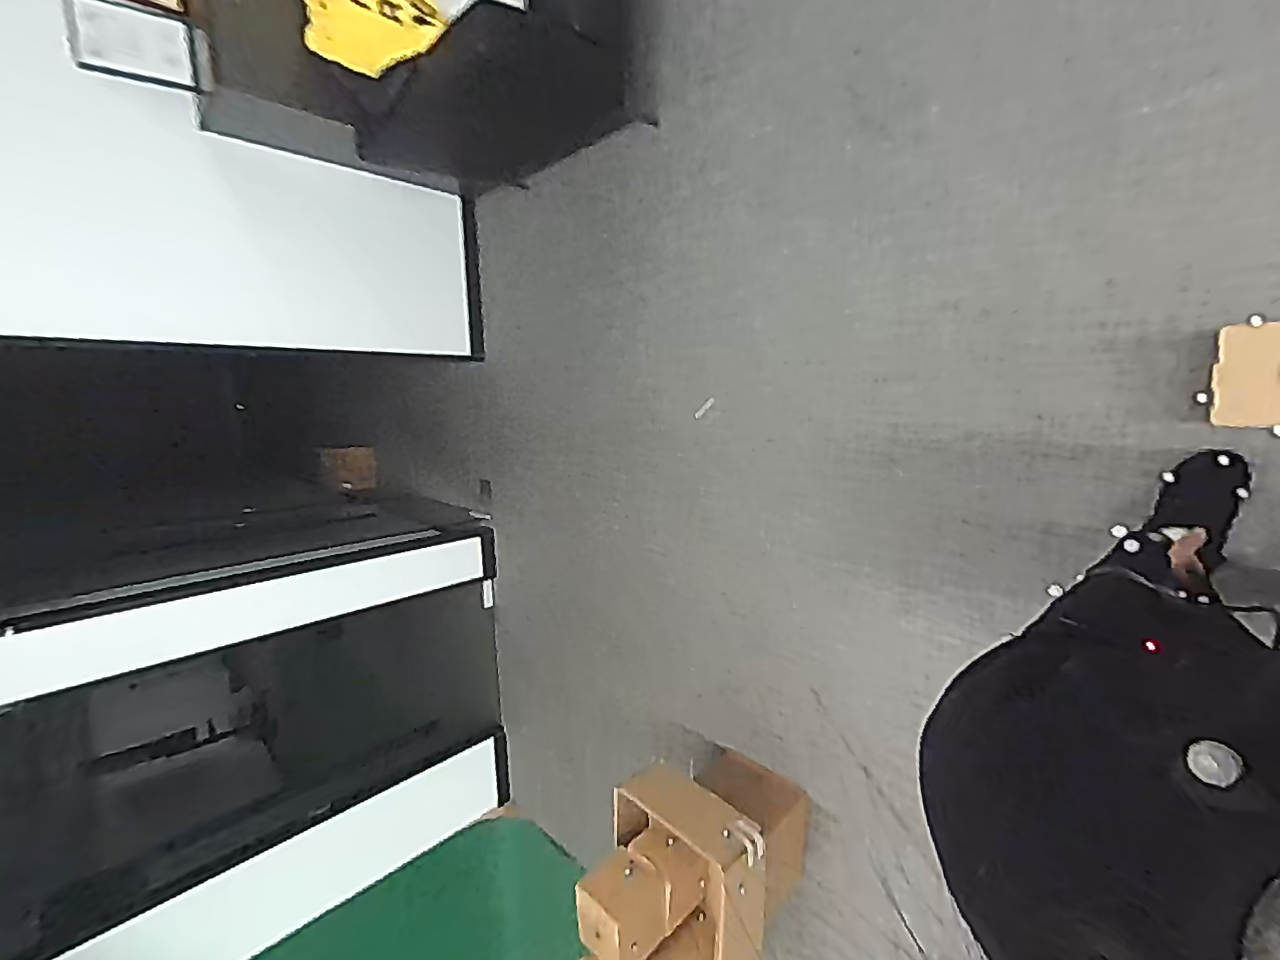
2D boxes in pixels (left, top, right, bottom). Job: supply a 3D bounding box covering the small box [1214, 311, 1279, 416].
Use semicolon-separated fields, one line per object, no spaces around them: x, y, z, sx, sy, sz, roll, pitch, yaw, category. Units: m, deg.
1.079;-0.189;0.887;0.179;0.176;0.168;7;102;45;small box
